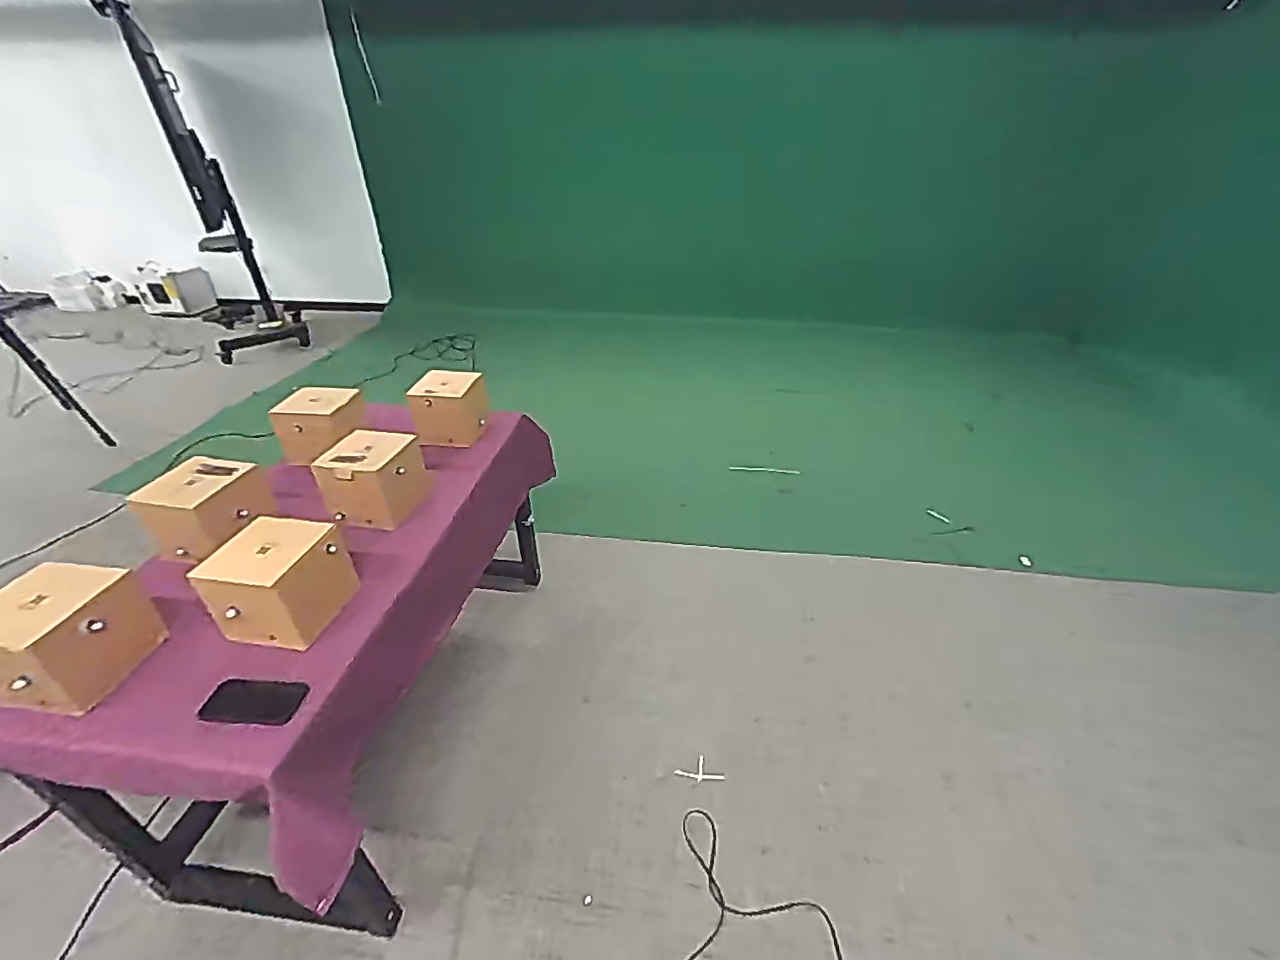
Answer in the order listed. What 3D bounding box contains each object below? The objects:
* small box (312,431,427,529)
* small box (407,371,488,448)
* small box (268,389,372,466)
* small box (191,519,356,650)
[{"bbox_3d":[-0.643,0.000,1.315,0.168,0.176,0.179,6,33,9],"label":"small box"},{"bbox_3d":[-0.571,-0.214,1.633,0.168,0.176,0.179,3,34,6],"label":"small box"},{"bbox_3d":[-0.895,-0.147,1.535,0.179,0.176,0.168,3,34,4],"label":"small box"},{"bbox_3d":[-0.675,0.196,1.024,0.168,0.176,0.179,4,33,8],"label":"small box"}]
